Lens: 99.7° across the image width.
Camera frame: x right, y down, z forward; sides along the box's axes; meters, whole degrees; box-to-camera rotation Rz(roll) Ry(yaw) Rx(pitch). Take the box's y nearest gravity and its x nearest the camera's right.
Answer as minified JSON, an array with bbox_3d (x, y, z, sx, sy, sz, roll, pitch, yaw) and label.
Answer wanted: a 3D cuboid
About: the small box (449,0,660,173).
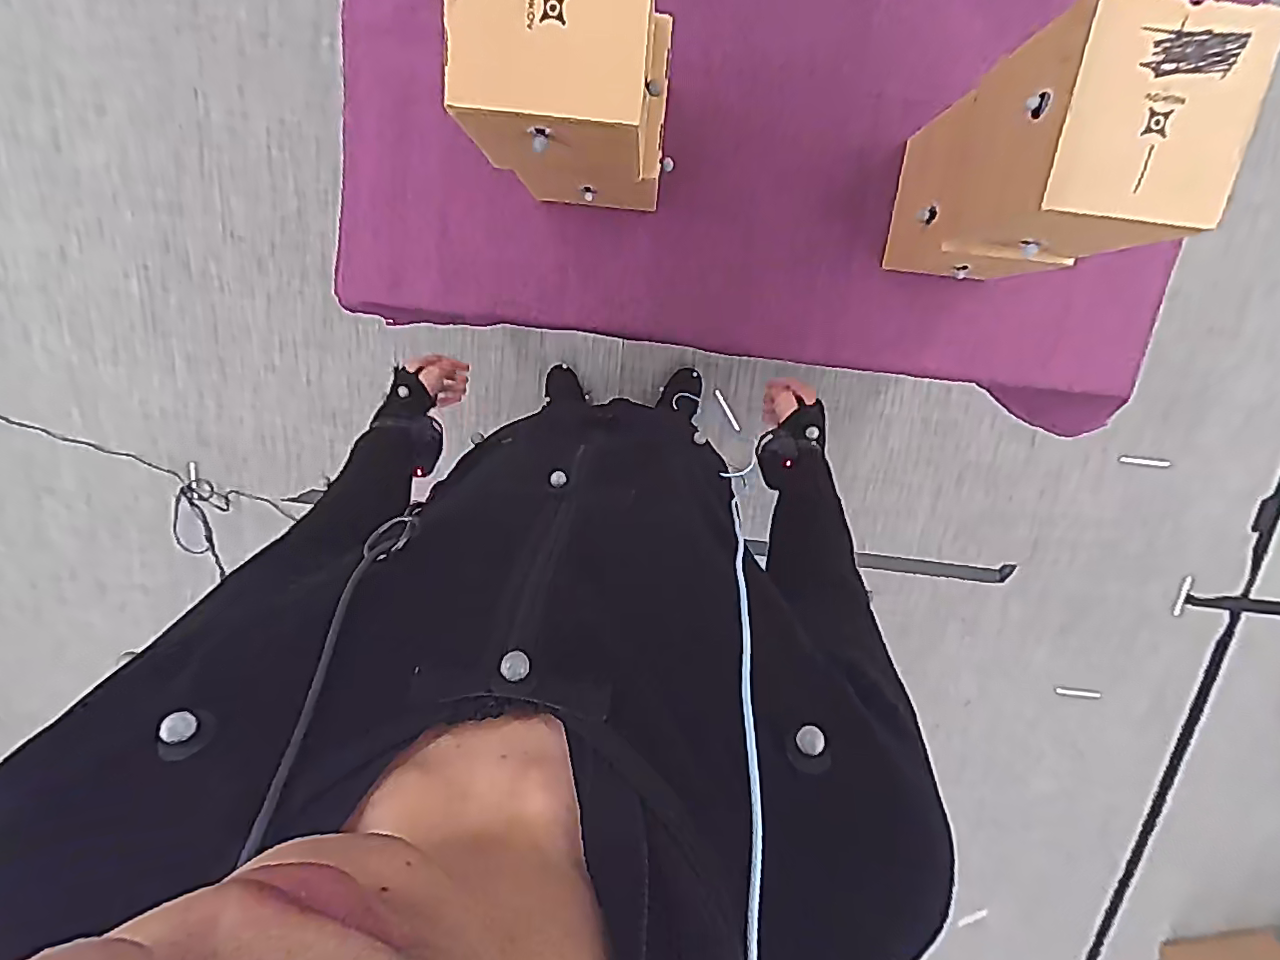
[{"bbox_3d":[-0.073,-0.421,0.535,0.179,0.176,0.168,6,105,0],"label":"small box"}]

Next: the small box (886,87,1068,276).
[{"bbox_3d":[0.451,-0.375,0.715,0.168,0.176,0.179,6,104,-2],"label":"small box"}]

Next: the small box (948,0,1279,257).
[{"bbox_3d":[0.453,-0.342,0.554,0.168,0.176,0.179,7,105,-1],"label":"small box"}]
